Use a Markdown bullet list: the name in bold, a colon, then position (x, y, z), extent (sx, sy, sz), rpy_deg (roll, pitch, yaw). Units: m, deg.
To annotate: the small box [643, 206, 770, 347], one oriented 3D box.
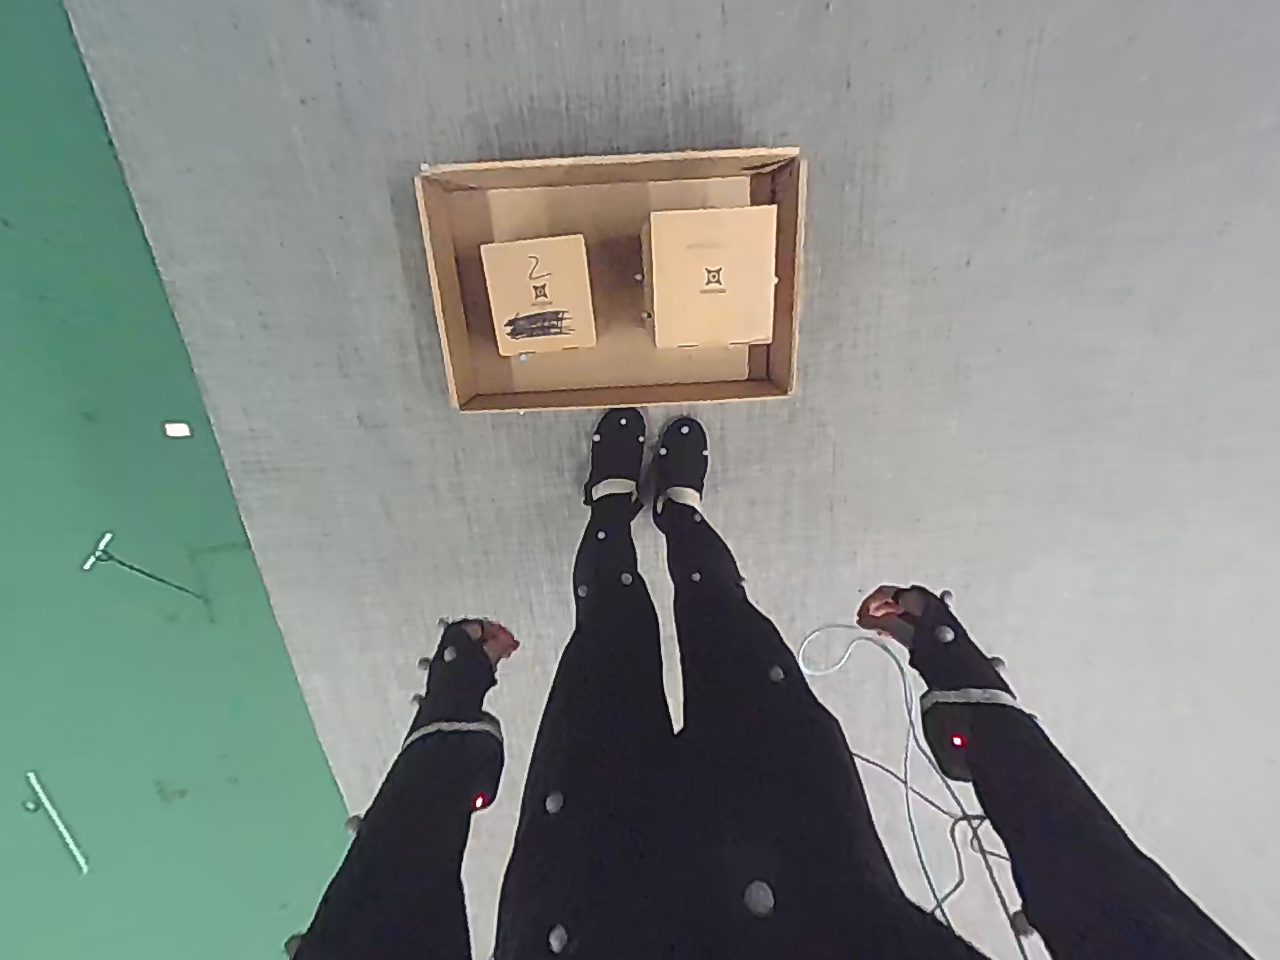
- **small box**: position (0.090, -0.298, 0.804), extent (0.168, 0.176, 0.179), rpy_deg (-3, 109, -1)
